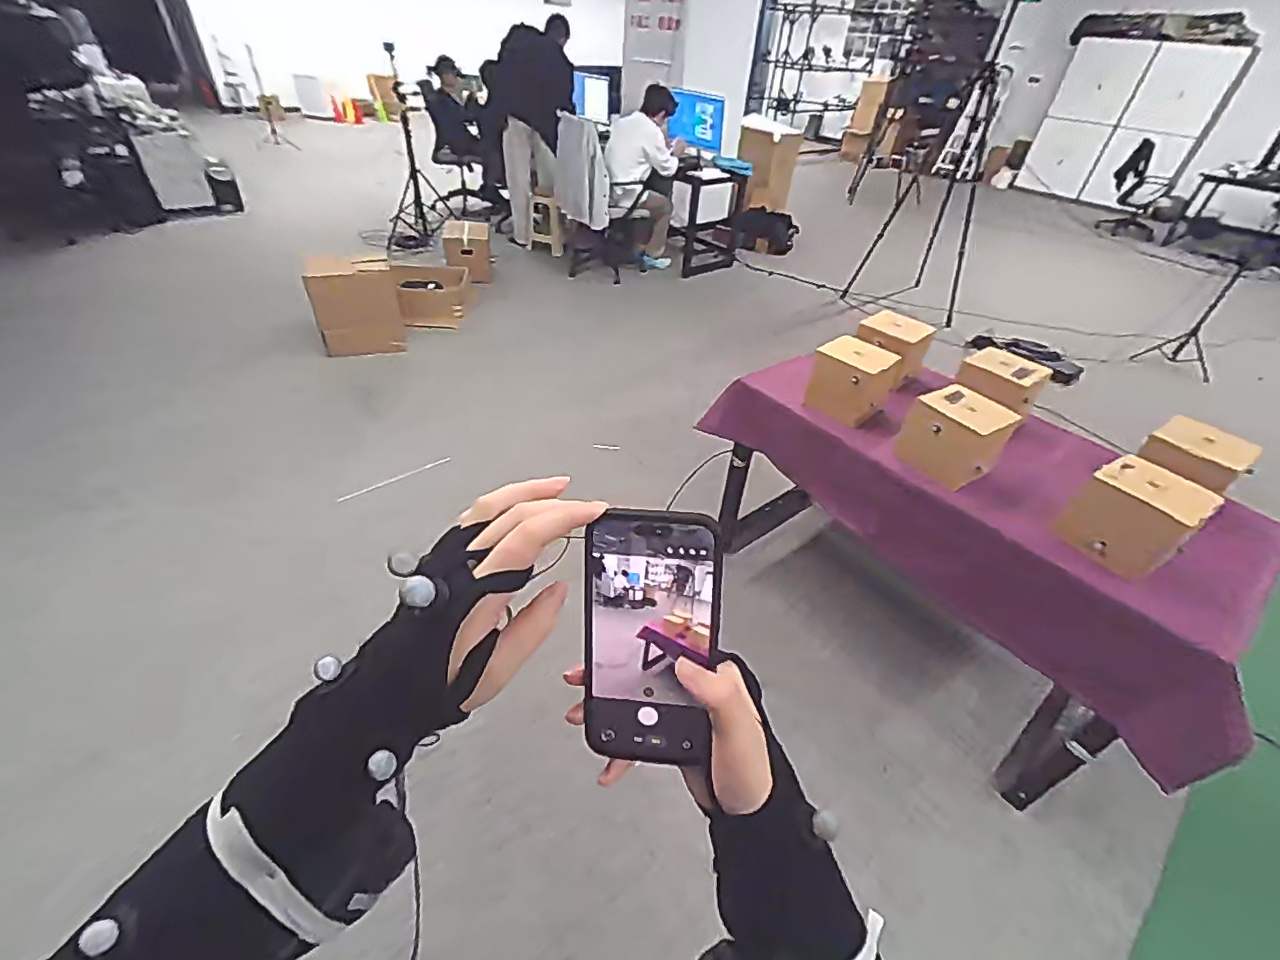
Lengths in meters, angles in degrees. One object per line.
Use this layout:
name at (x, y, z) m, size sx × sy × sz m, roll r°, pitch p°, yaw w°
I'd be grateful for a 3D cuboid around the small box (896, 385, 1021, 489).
small box at (0.768, -0.106, 1.325) m, size 0.168 × 0.176 × 0.179 m, roll -19°, pitch 46°, yaw -27°

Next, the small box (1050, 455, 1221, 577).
small box at (1.022, 0.080, 1.129) m, size 0.168 × 0.176 × 0.179 m, roll -18°, pitch 45°, yaw -26°

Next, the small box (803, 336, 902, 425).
small box at (0.587, -0.279, 1.514) m, size 0.168 × 0.176 × 0.179 m, roll -29°, pitch 52°, yaw -35°

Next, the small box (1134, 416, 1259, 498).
small box at (1.278, -0.022, 1.279) m, size 0.179 × 0.176 × 0.168 m, roll -22°, pitch 46°, yaw -28°
